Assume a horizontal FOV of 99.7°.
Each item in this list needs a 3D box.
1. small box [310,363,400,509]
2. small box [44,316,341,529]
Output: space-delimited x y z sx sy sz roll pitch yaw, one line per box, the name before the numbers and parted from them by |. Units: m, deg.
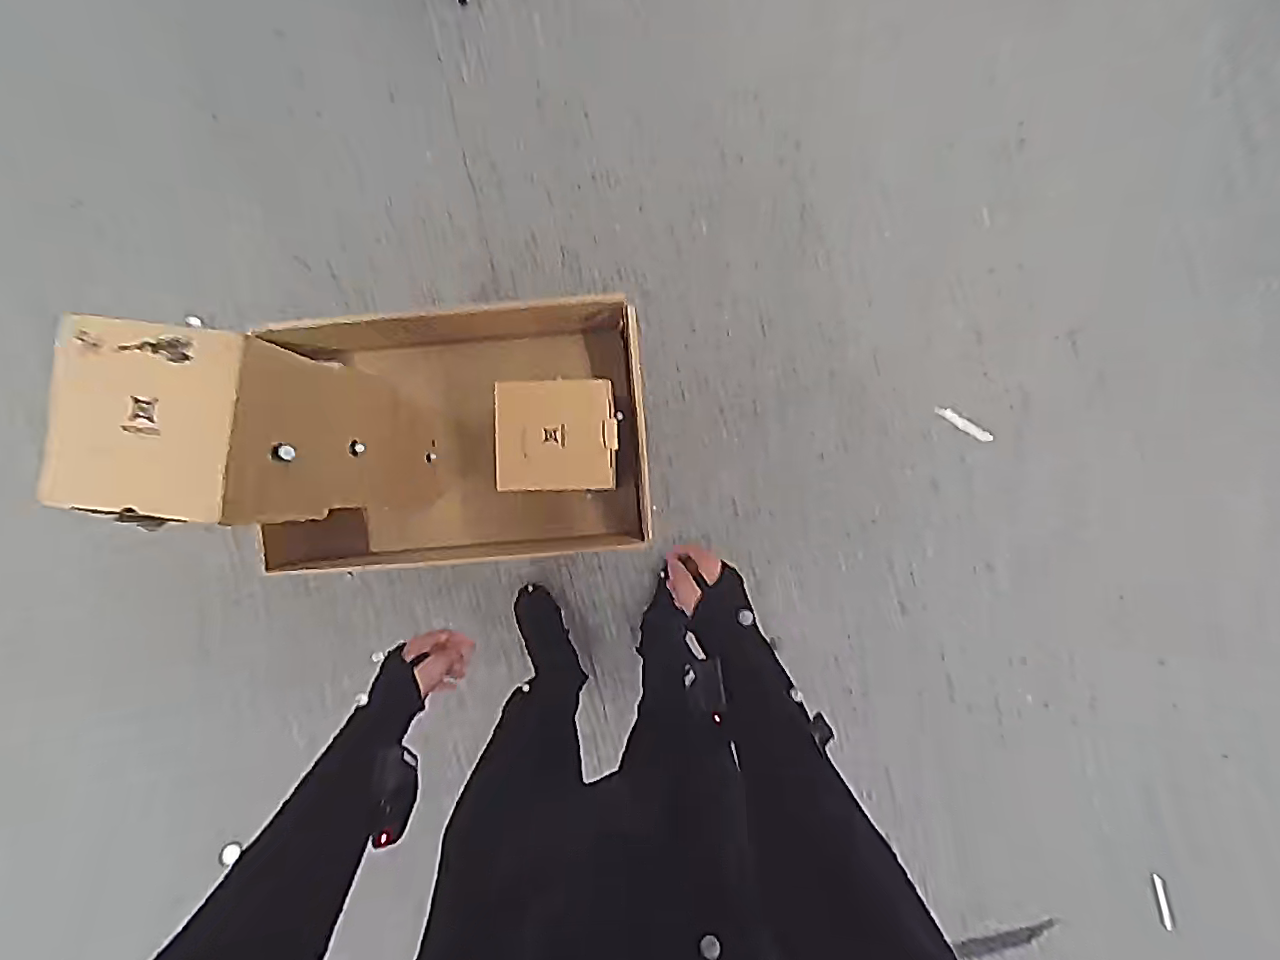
small box | -0.441 -0.055 0.726 0.168 0.176 0.179 3 89 0
small box | -0.440 -0.052 0.561 0.168 0.176 0.179 7 90 0
